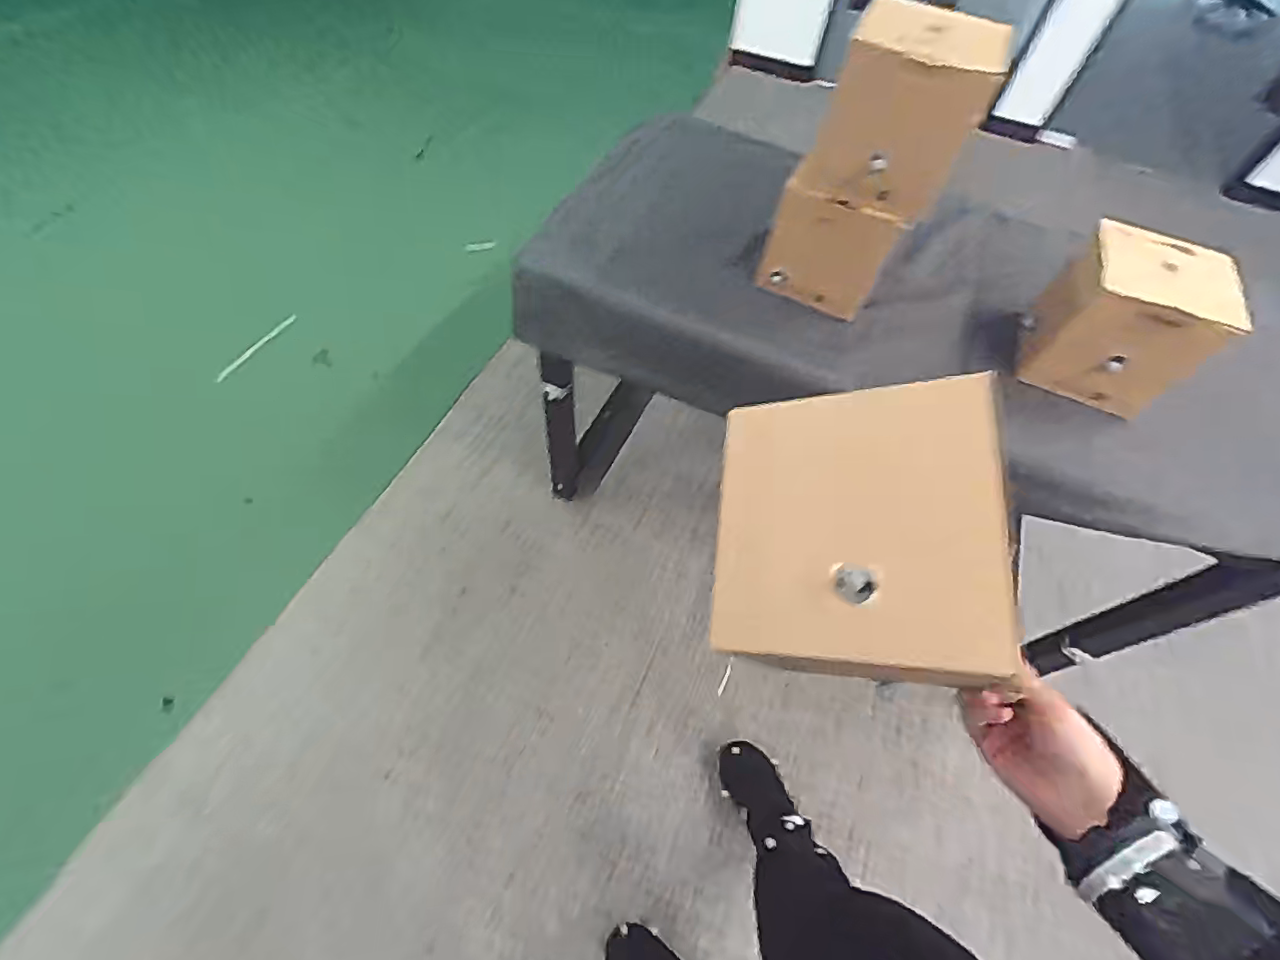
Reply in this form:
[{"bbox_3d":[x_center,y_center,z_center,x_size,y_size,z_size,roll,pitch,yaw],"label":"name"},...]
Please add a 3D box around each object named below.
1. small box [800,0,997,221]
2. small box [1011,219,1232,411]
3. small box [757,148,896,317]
[{"bbox_3d":[0.326,-0.474,0.701,0.168,0.176,0.179,22,58,10],"label":"small box"},{"bbox_3d":[0.664,-0.228,0.768,0.168,0.176,0.179,24,59,10],"label":"small box"},{"bbox_3d":[0.295,-0.385,0.837,0.168,0.176,0.179,25,58,11],"label":"small box"}]
